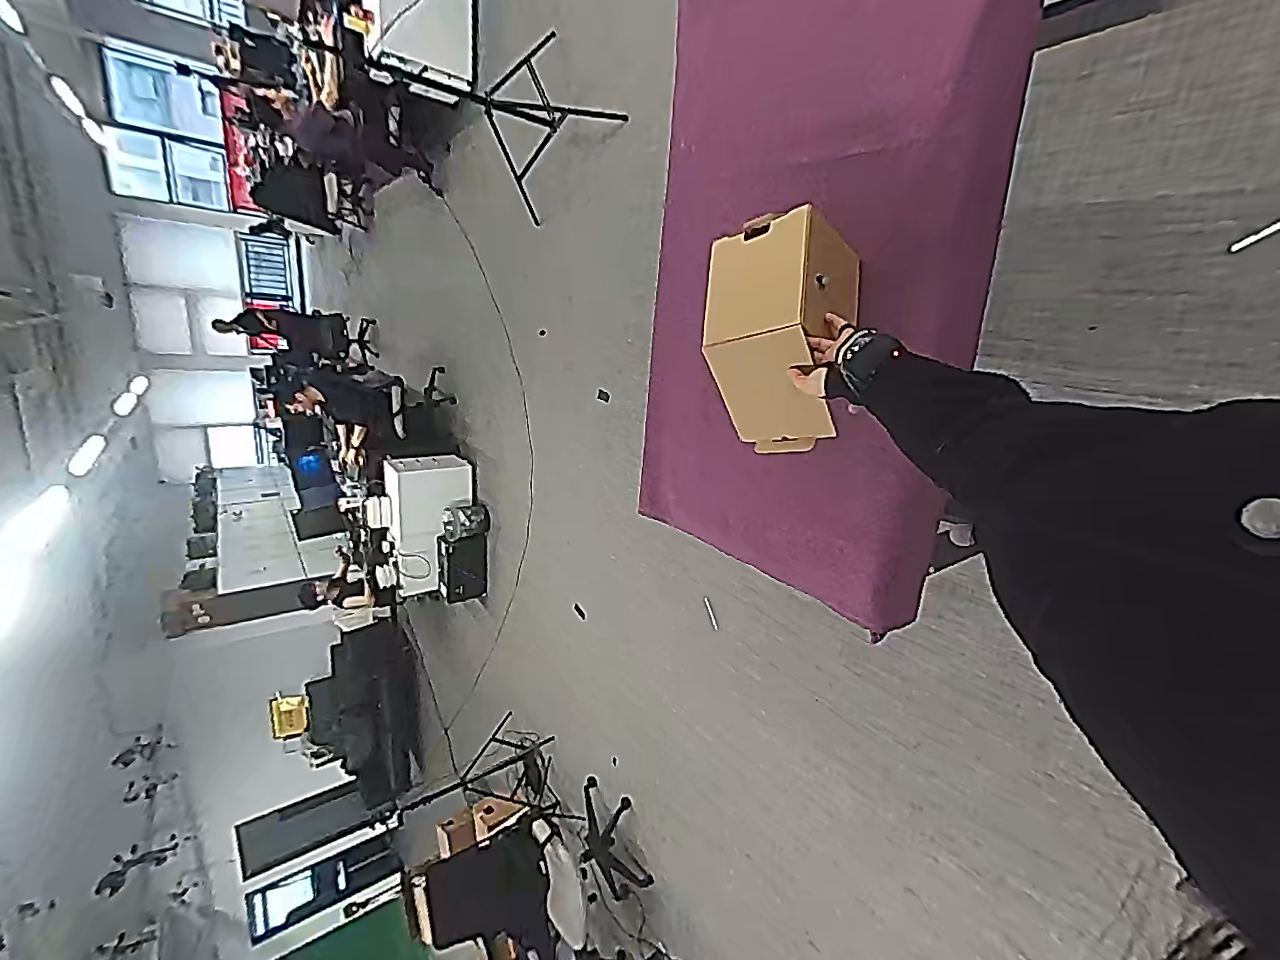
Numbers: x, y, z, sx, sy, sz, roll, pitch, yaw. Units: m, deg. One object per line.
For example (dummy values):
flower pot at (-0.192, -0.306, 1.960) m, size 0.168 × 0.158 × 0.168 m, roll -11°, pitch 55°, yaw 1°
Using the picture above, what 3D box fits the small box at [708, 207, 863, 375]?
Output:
small box at (0.225, -0.270, 0.829) m, size 0.168 × 0.176 × 0.179 m, roll -3°, pitch 77°, yaw 47°
